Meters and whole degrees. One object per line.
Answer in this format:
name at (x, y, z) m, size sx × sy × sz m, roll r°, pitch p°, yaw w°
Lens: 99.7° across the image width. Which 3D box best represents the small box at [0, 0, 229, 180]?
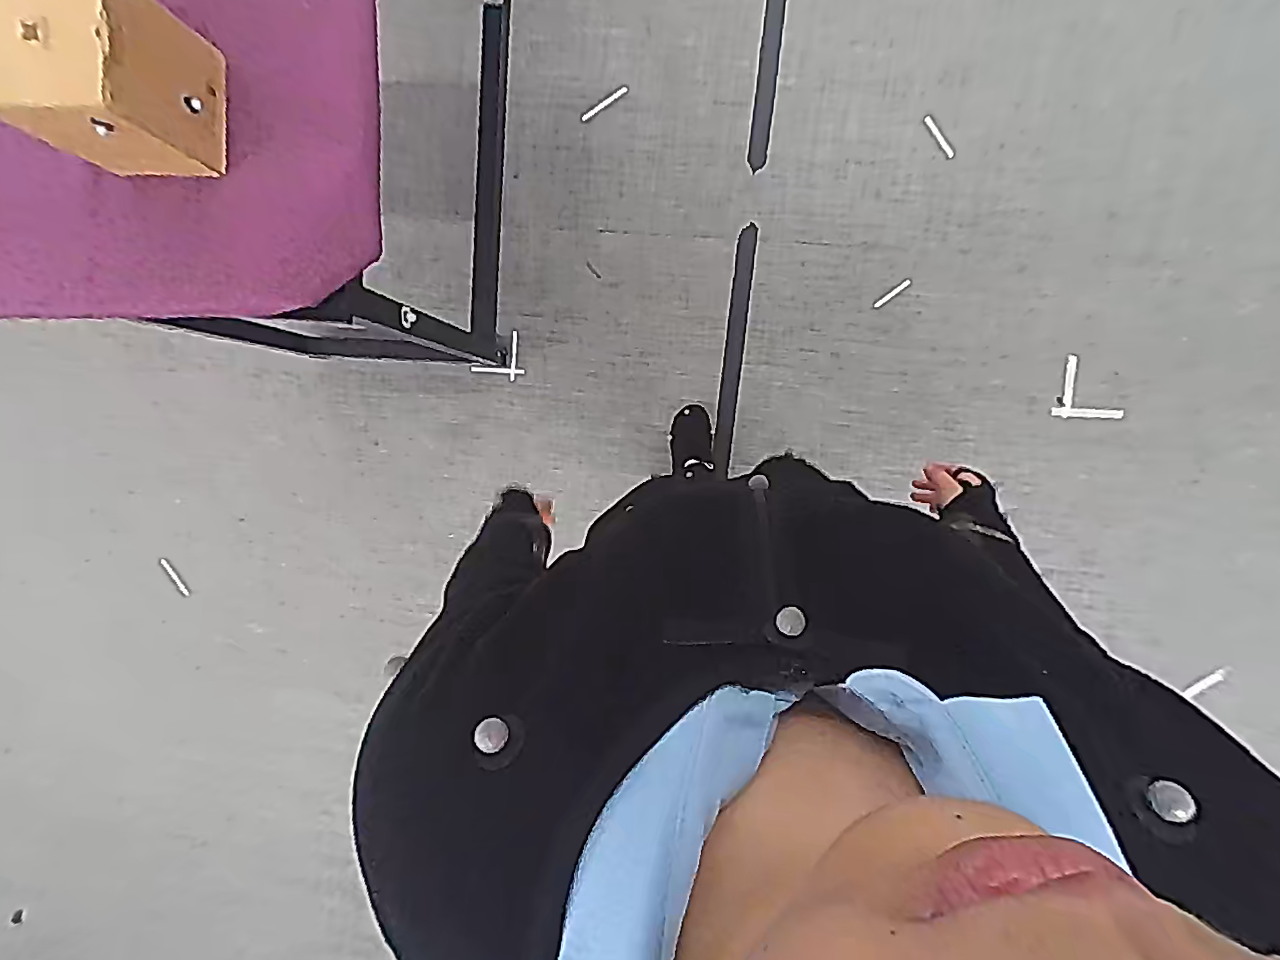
small box at (-0.684, -0.512, 0.701) m, size 0.179 × 0.176 × 0.168 m, roll 3°, pitch 94°, yaw 4°
